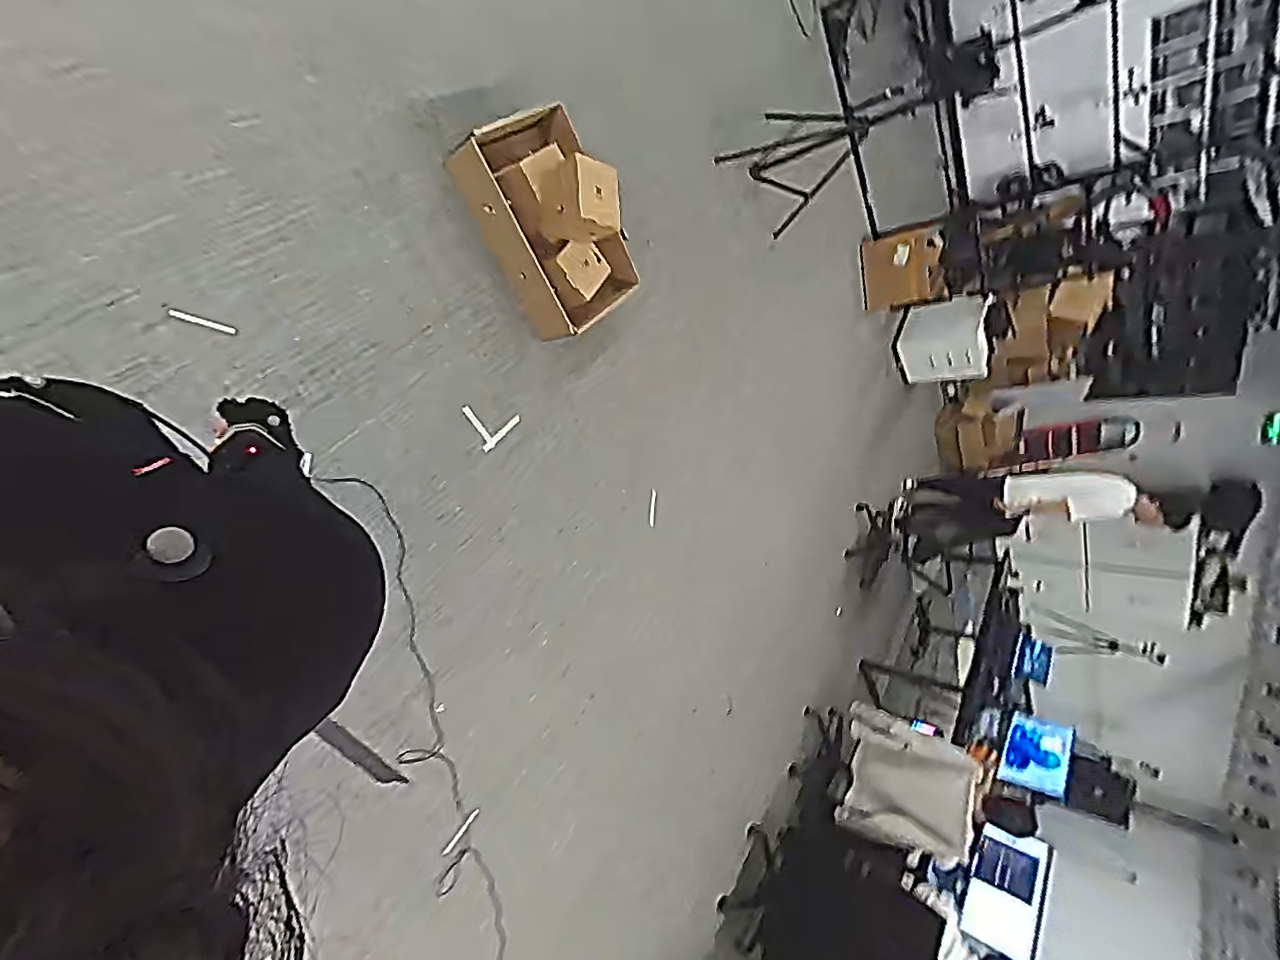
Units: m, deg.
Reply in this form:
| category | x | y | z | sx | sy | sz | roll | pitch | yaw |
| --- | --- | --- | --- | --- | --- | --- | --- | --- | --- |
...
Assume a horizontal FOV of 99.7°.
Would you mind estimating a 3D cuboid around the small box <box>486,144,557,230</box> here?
| category | x | y | z | sx | sy | sz | roll | pitch | yaw |
| --- | --- | --- | --- | --- | --- | --- | --- | --- | --- |
| small box | -0.344 | -0.909 | 1.686 | 0.179 | 0.176 | 0.168 | -52 | 127 | -32 |

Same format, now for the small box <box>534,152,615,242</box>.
| category | x | y | z | sx | sy | sz | roll | pitch | yaw |
| --- | --- | --- | --- | --- | --- | --- | --- | --- | --- |
| small box | -0.196 | -0.830 | 1.611 | 0.168 | 0.176 | 0.179 | -11 | 98 | -49 |
